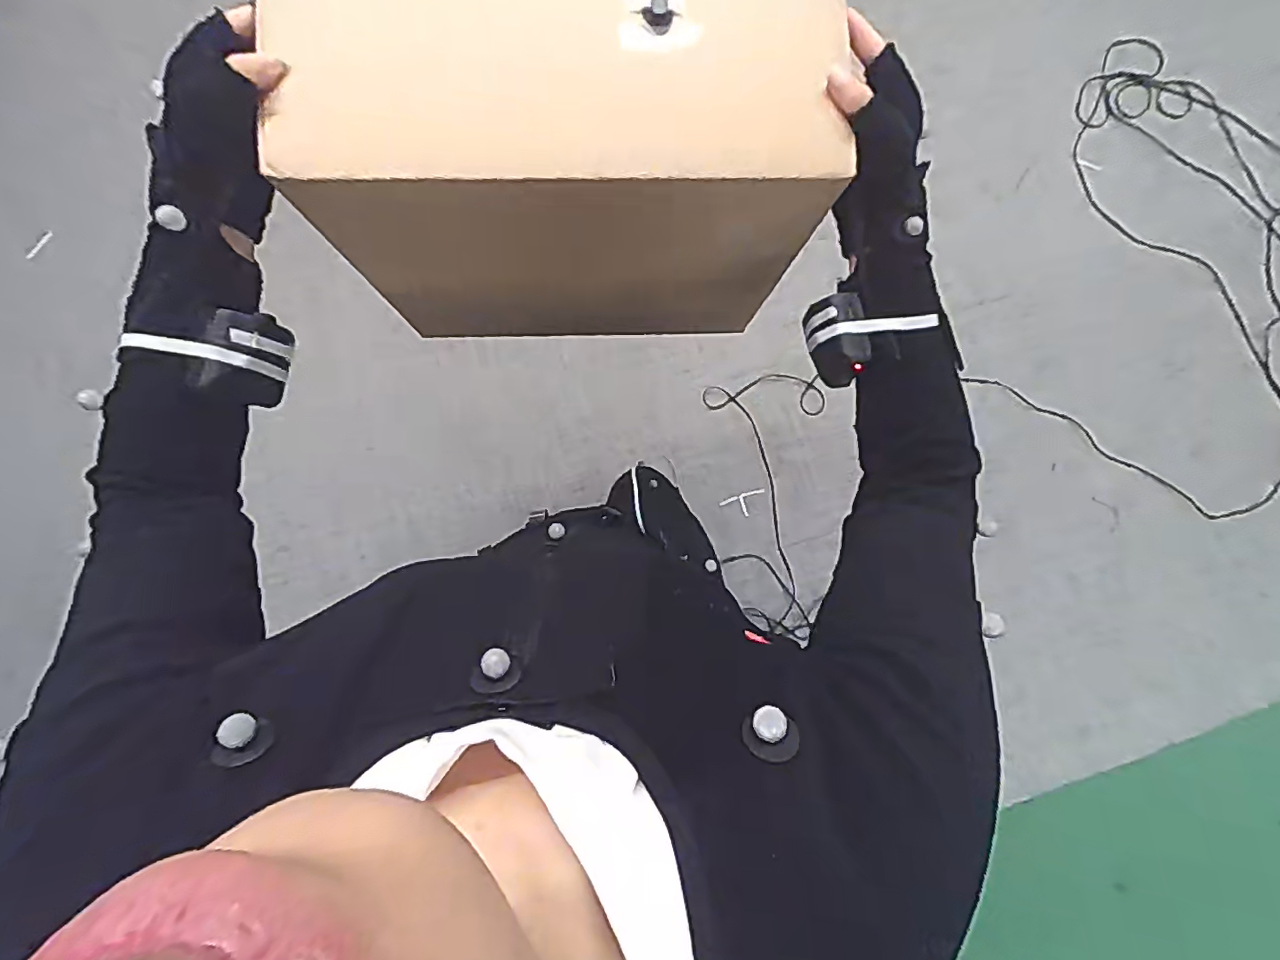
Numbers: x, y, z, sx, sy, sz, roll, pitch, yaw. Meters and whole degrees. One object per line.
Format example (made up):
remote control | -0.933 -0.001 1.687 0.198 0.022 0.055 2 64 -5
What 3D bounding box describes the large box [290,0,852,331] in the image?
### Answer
large box | -0.061 -0.356 0.543 0.408 0.320 0.320 -2 86 -5
